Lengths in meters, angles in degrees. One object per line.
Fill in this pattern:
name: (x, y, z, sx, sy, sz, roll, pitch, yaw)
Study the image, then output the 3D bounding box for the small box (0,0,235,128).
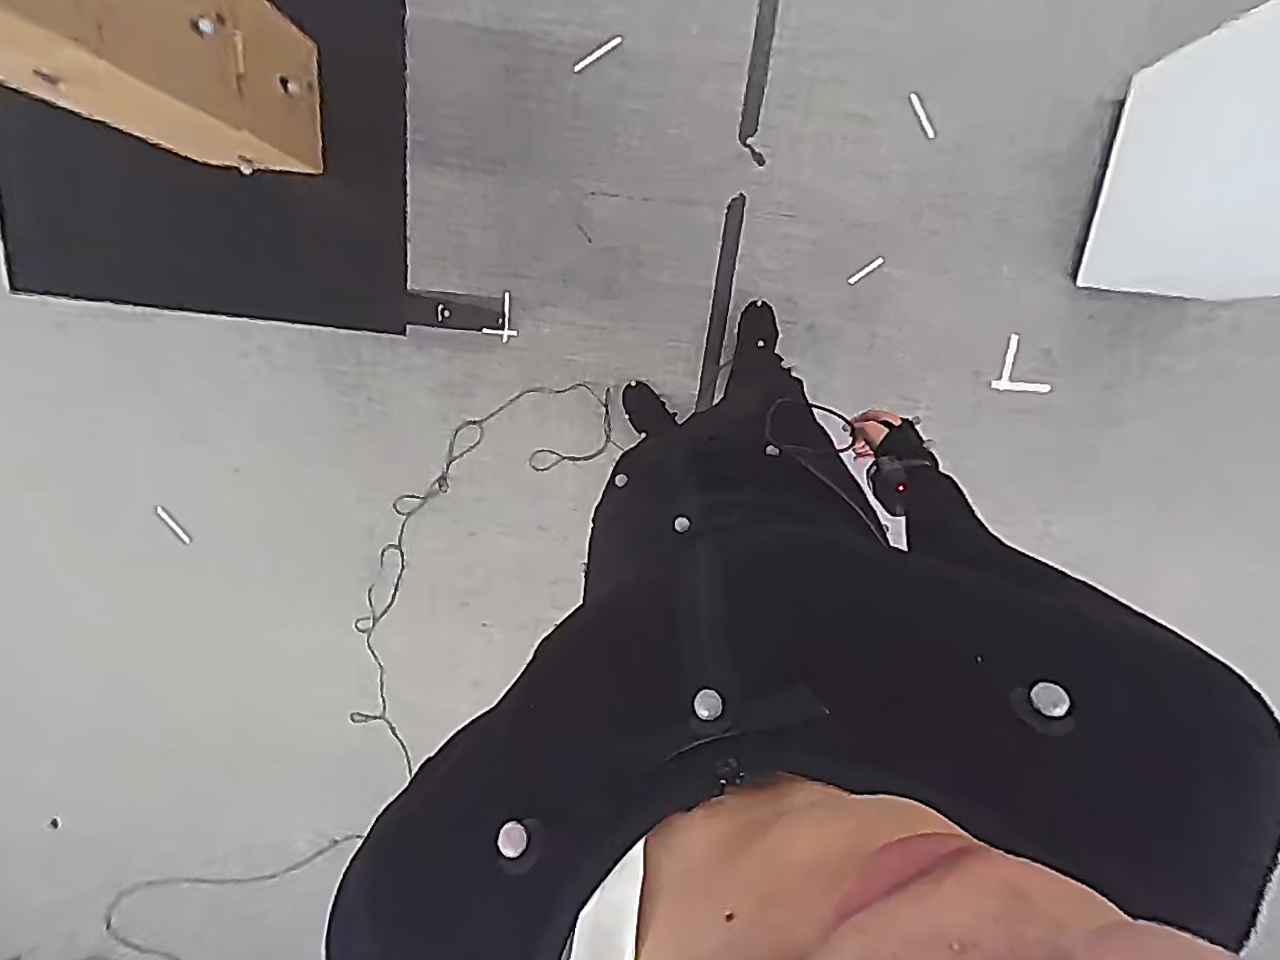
small box: (-0.545, -0.469, 0.525, 0.179, 0.176, 0.168, 5, 105, -1)

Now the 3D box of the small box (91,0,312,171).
small box: (-0.543, -0.509, 0.685, 0.179, 0.176, 0.168, 4, 104, -1)

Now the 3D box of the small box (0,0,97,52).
small box: (-0.545, -0.430, 0.367, 0.179, 0.176, 0.168, 4, 105, -1)
